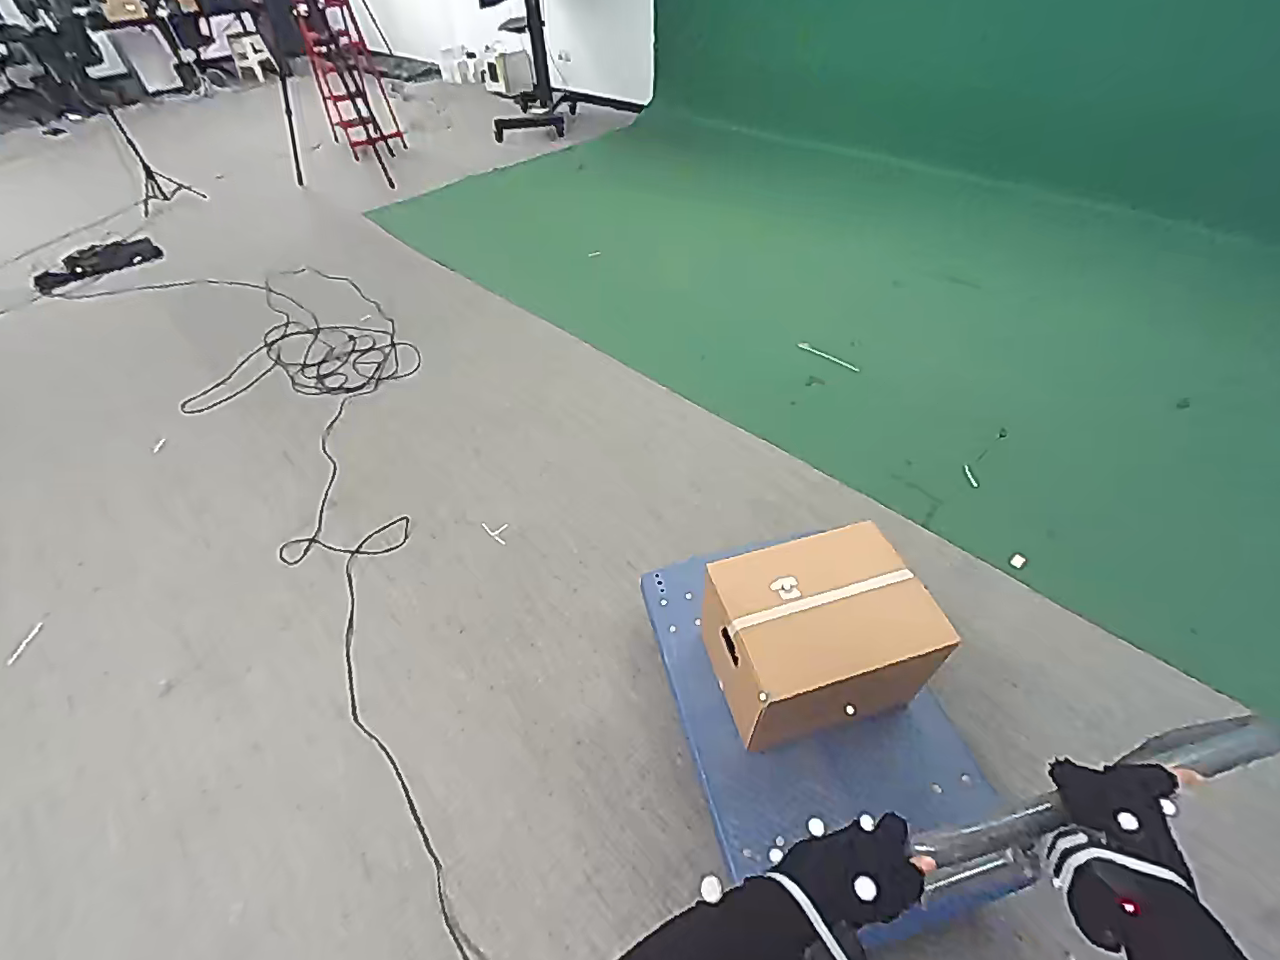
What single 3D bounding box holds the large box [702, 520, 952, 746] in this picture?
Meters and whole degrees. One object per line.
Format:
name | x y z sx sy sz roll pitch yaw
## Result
large box | 0.383 0.344 1.219 0.408 0.320 0.320 -14 48 -9
